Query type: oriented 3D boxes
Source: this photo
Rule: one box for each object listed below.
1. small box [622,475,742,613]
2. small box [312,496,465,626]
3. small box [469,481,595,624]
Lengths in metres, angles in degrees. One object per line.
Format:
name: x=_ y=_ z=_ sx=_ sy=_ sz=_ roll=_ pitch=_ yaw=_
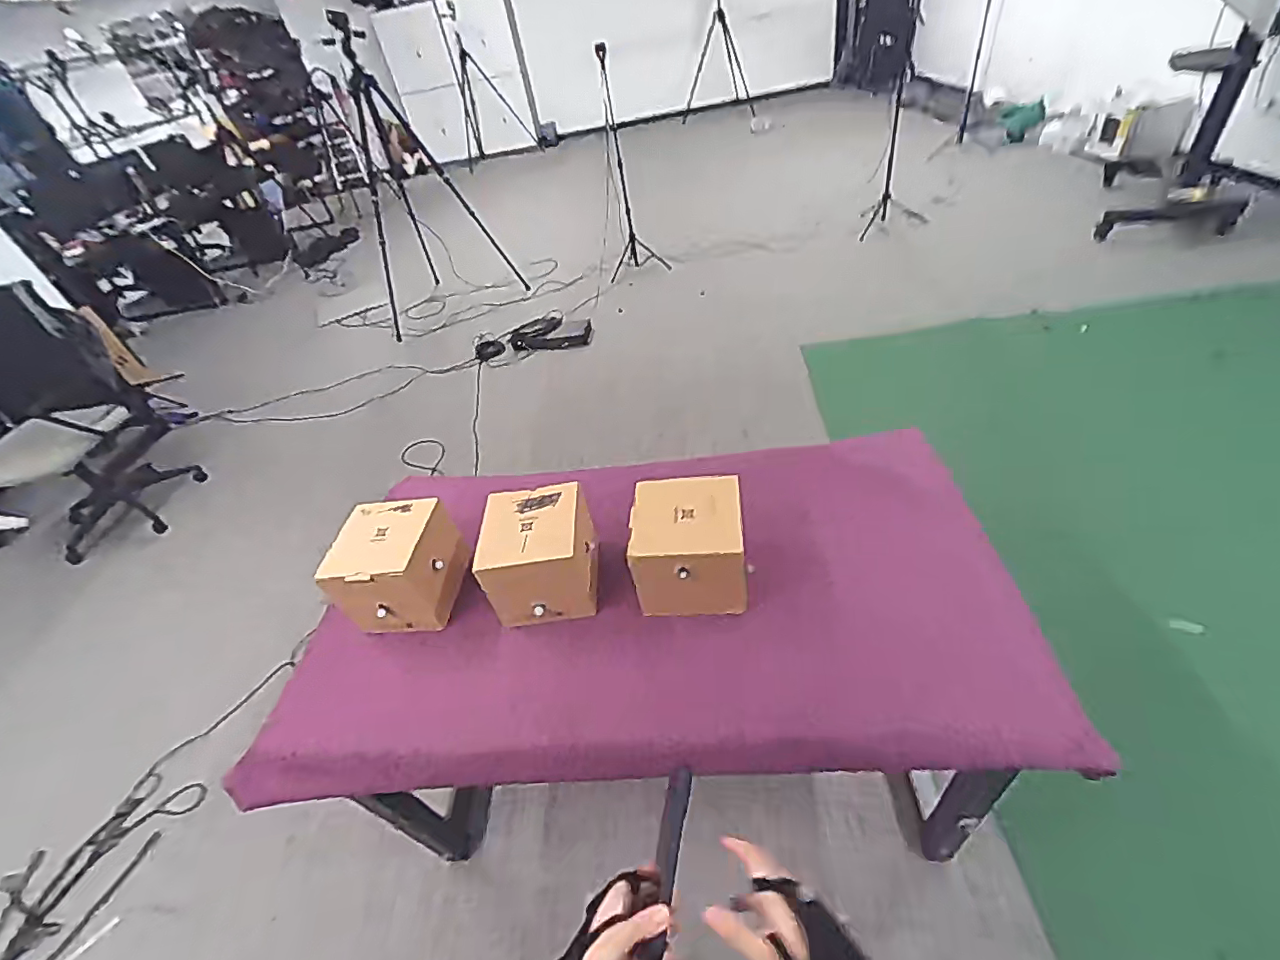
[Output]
small box: x=0.078 y=0.111 z=0.913 sx=0.179 sy=0.176 sz=0.168 roll=-3 pitch=43 yaw=10
small box: x=-0.443 y=0.154 z=0.989 sx=0.168 sy=0.176 sz=0.179 roll=-5 pitch=43 yaw=8
small box: x=-0.178 y=0.128 z=0.954 sx=0.168 sy=0.176 sz=0.179 roll=-8 pitch=42 yaw=5
